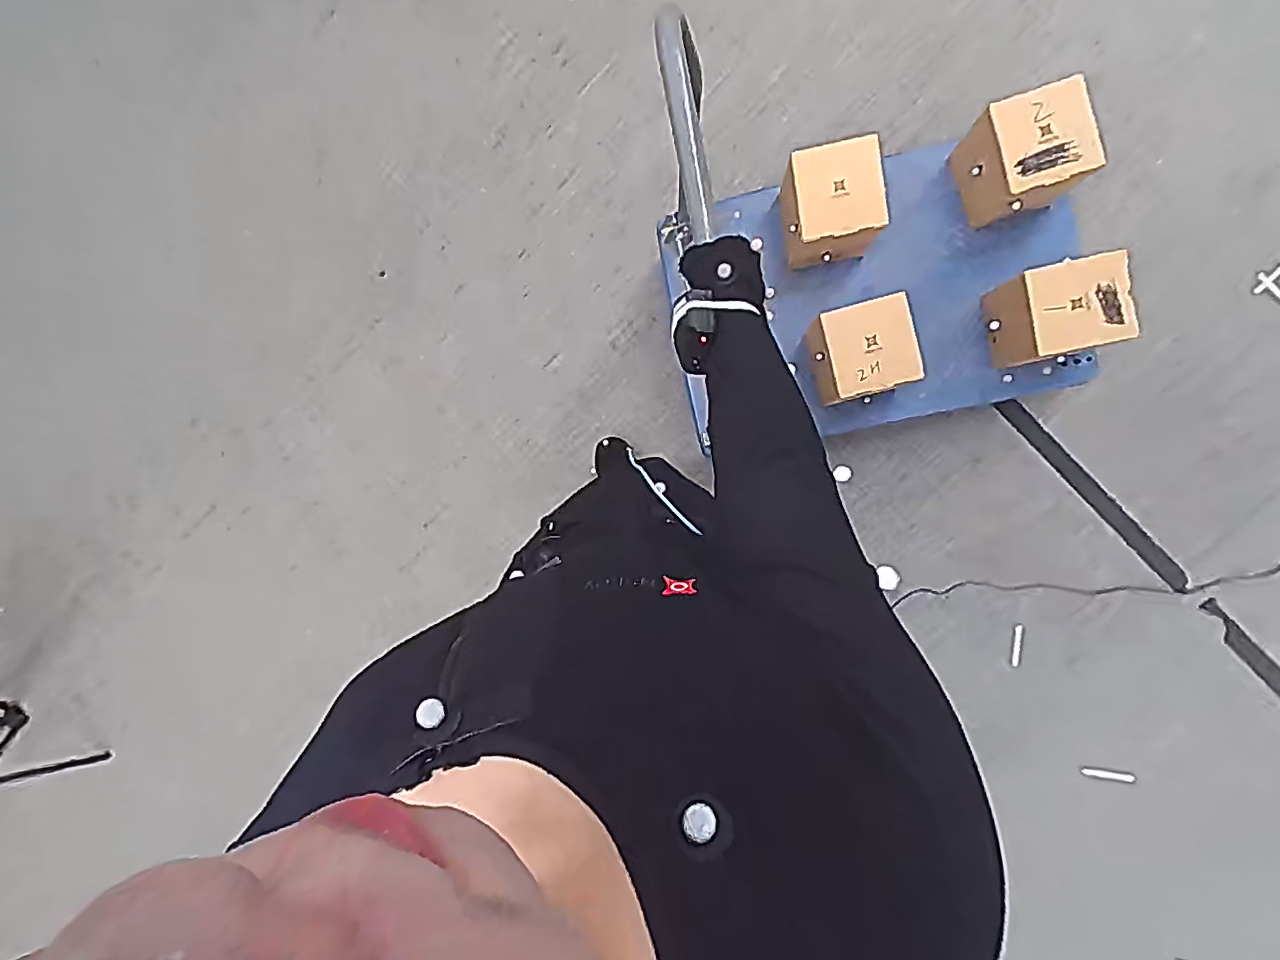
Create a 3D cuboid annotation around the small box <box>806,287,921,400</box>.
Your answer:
[{"bbox_3d":[0.458,-0.277,1.135,0.168,0.176,0.179,-13,92,8],"label":"small box"}]

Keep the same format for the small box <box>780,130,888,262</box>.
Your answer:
[{"bbox_3d":[0.394,-0.580,1.124,0.168,0.176,0.179,-8,94,7],"label":"small box"}]

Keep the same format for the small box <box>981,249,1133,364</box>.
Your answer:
[{"bbox_3d":[0.826,-0.339,1.086,0.179,0.176,0.168,-10,92,8],"label":"small box"}]
